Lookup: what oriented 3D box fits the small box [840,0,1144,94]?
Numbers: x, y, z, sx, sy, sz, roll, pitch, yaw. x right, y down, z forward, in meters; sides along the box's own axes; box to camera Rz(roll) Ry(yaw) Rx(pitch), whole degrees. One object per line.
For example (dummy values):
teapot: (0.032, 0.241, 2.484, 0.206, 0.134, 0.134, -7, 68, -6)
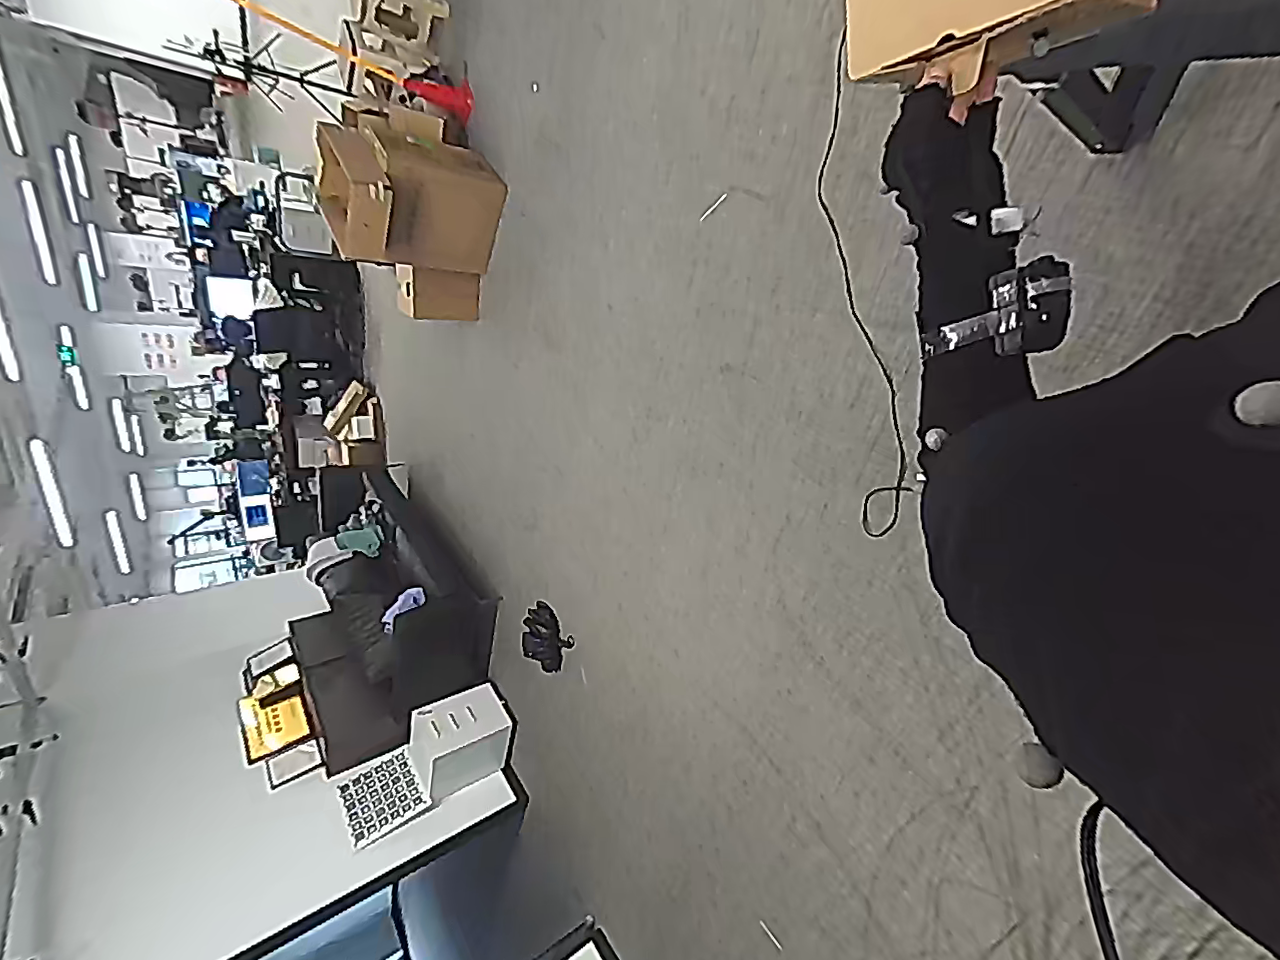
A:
small box: (0.273, -0.427, 0.414, 0.168, 0.176, 0.179, 18, 126, 50)
